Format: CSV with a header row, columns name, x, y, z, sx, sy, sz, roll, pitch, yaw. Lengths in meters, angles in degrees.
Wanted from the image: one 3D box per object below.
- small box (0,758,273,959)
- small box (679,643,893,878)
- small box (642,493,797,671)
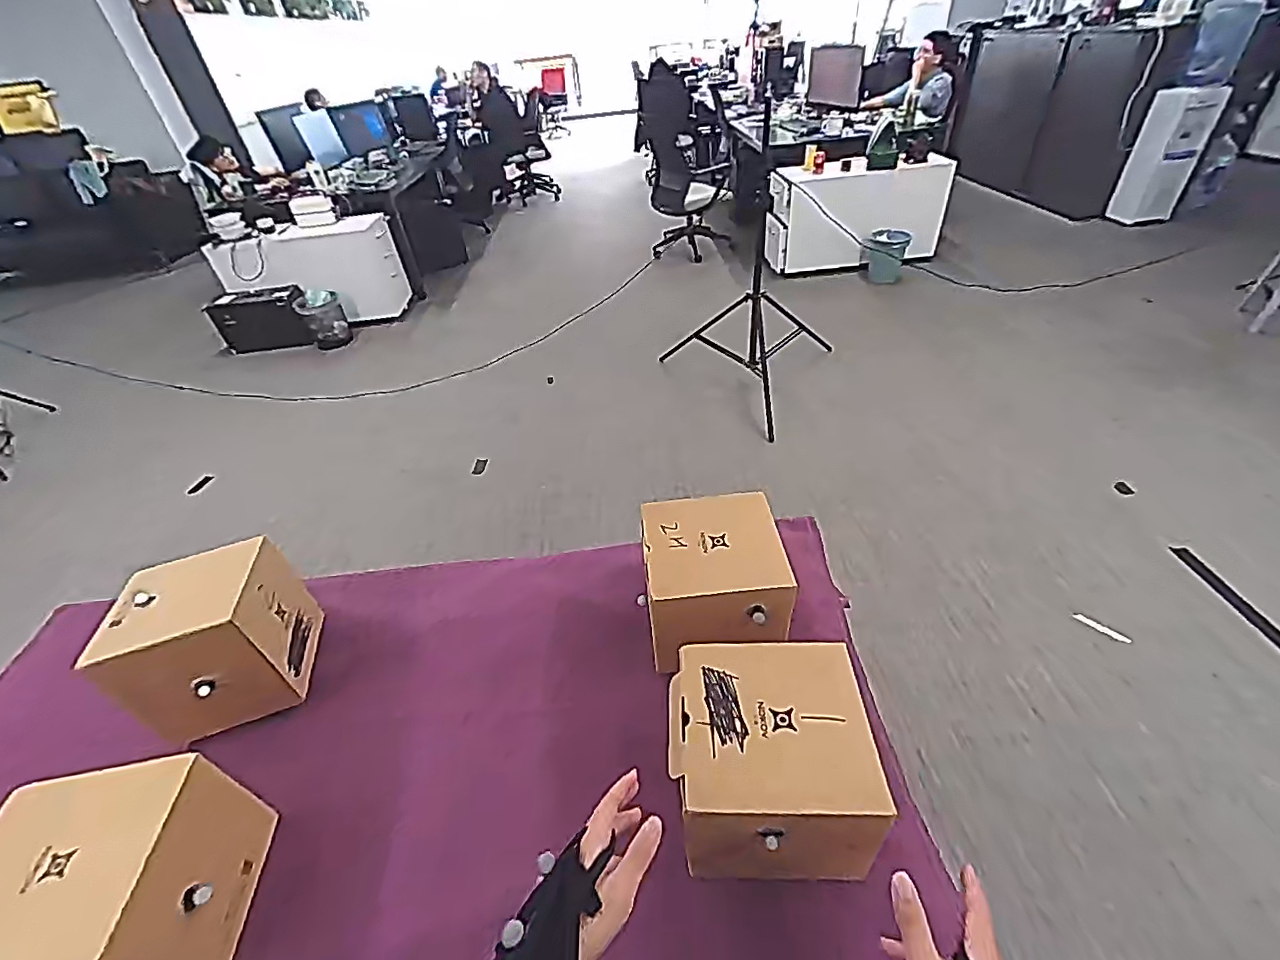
name,x,y,z,sx,sy,sz,roll,pitch,yaw
small box,-0.502,0.399,0.520,0.179,0.176,0.168,-10,39,-4
small box,0.134,0.288,0.558,0.179,0.176,0.168,-3,39,5
small box,0.098,0.141,0.739,0.179,0.176,0.168,-6,41,0
